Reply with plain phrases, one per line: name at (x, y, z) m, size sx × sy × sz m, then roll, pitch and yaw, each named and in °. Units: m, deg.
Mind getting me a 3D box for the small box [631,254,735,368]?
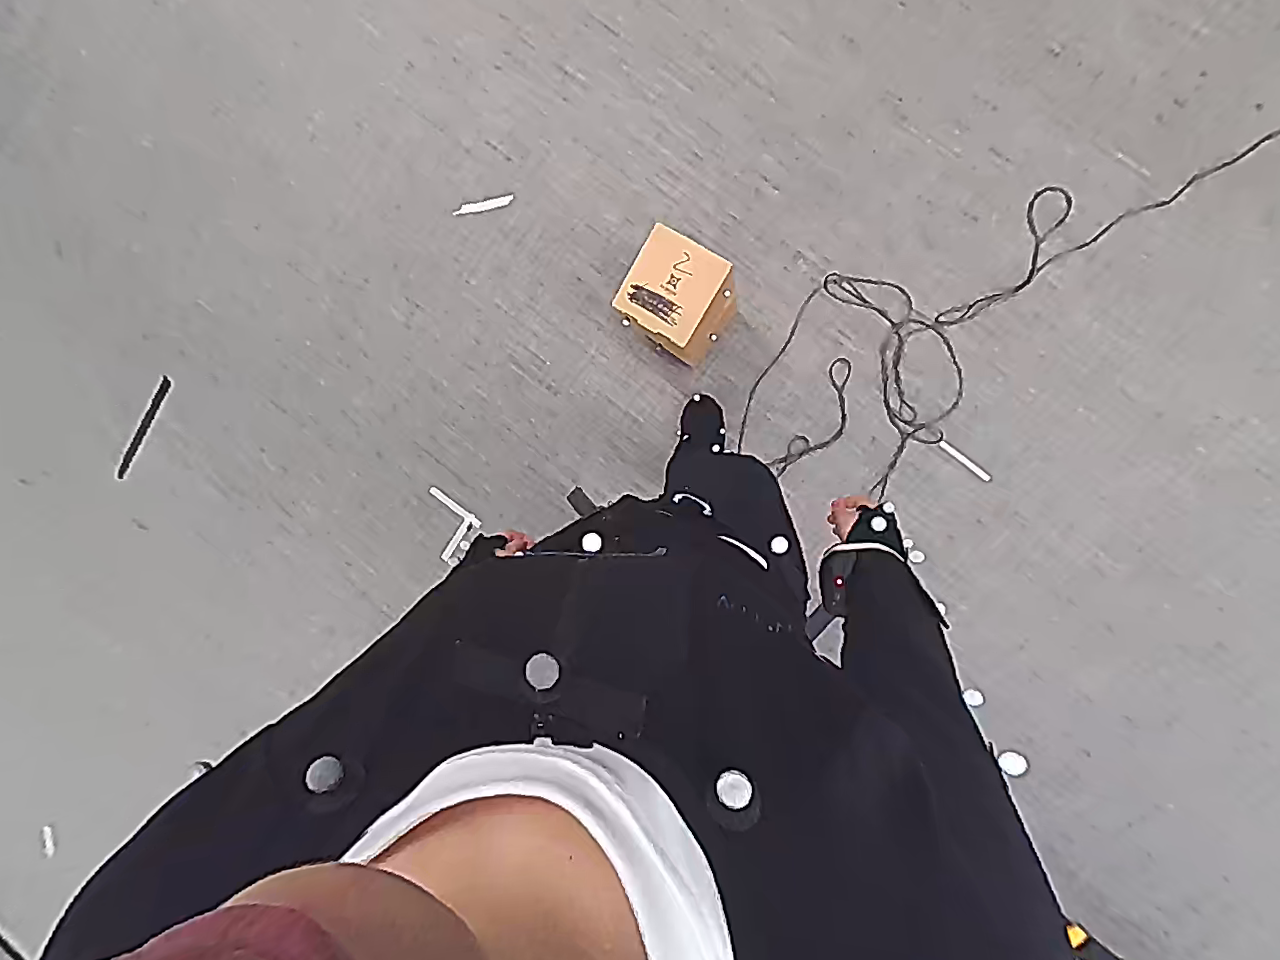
small box at (0.106, -0.376, 1.241) m, size 0.168 × 0.176 × 0.179 m, roll 37°, pitch 101°, yaw 5°
